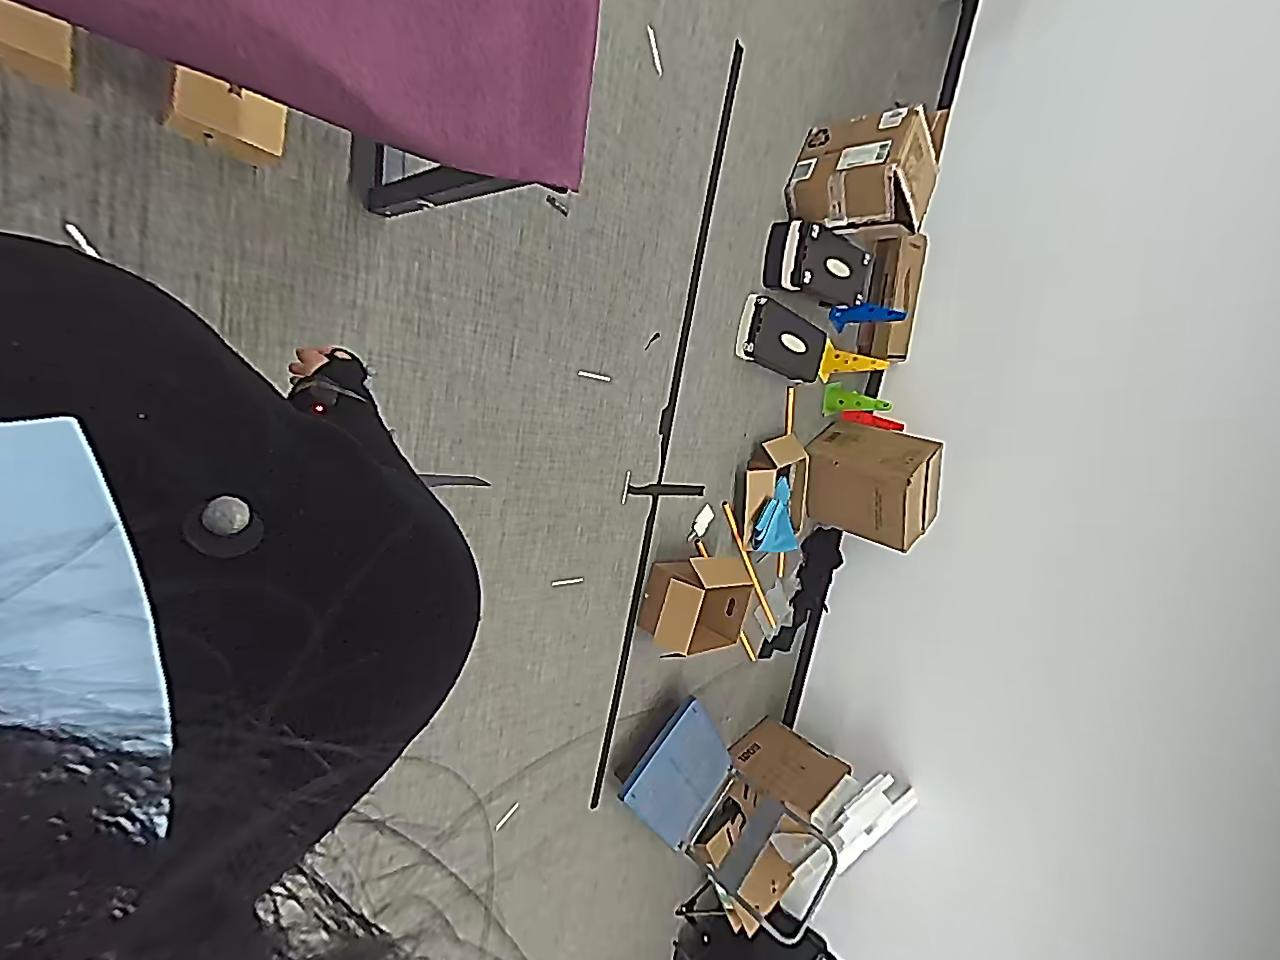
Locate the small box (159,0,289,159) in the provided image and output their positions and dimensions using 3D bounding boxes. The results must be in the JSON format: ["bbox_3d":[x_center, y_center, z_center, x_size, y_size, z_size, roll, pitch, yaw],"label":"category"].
[{"bbox_3d":[-0.803,-0.751,1.040,0.168,0.176,0.179,6,100,-47],"label":"small box"}]

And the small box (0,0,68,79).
[{"bbox_3d":[-0.997,-0.762,0.826,0.168,0.176,0.179,2,103,-47],"label":"small box"}]
